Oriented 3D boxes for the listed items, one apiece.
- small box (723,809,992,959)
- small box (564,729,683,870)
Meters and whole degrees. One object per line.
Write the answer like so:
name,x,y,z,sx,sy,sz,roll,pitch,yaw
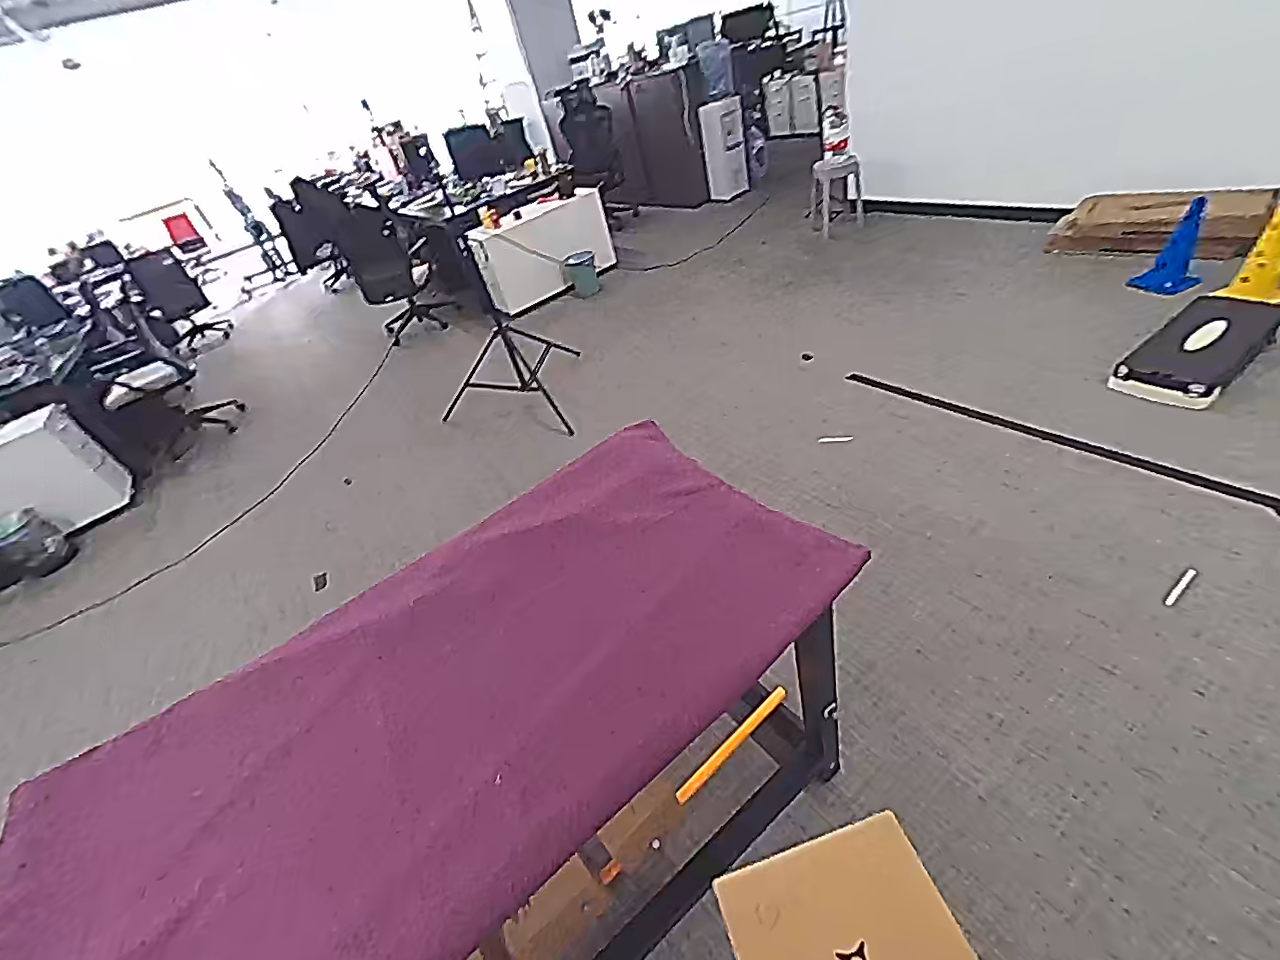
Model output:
small box,0.178,0.409,0.428,0.168,0.176,0.179,-18,38,-4
small box,-0.032,0.682,1.151,0.168,0.176,0.179,-37,45,-21
